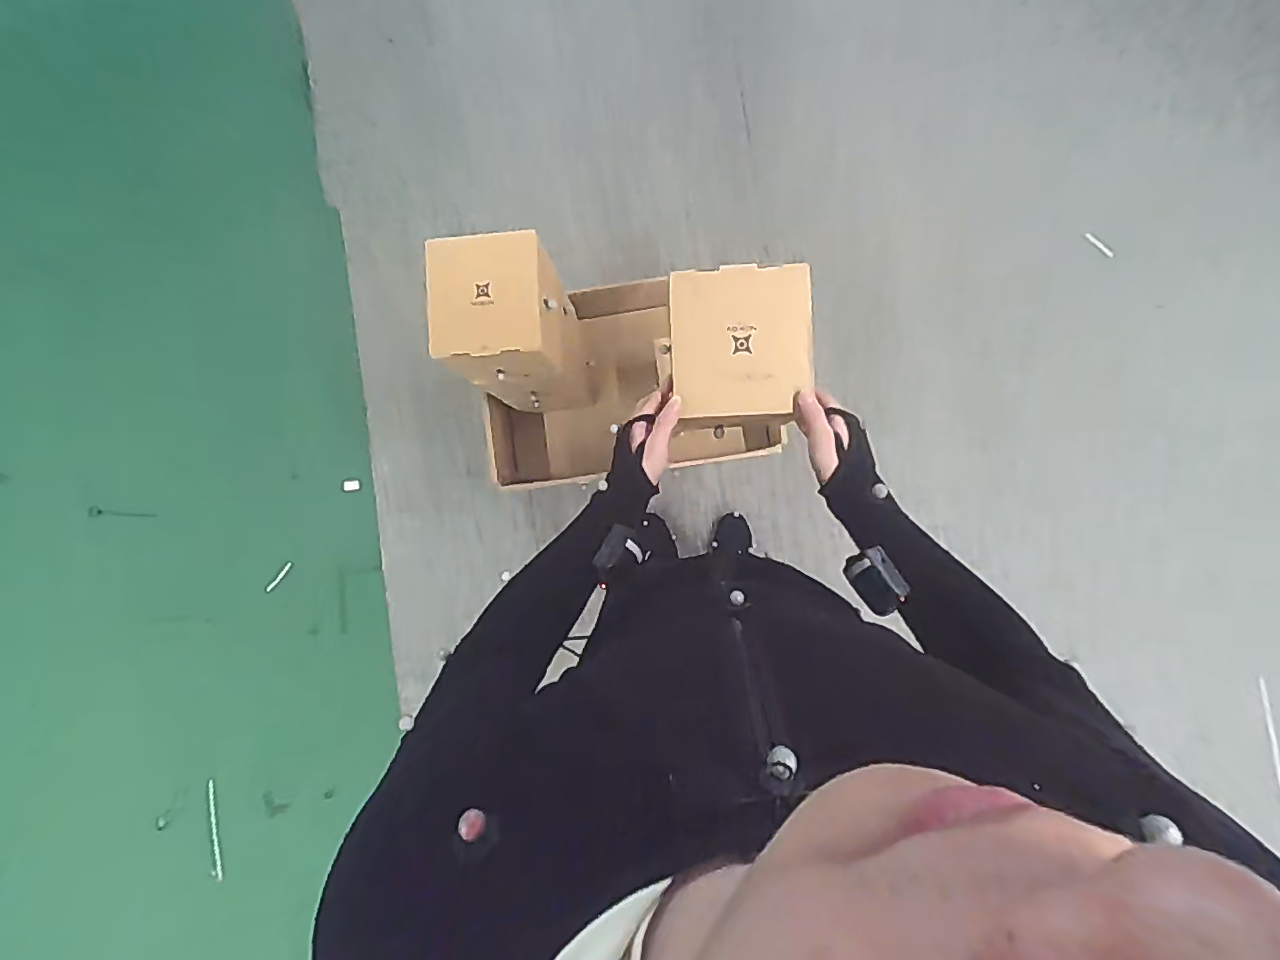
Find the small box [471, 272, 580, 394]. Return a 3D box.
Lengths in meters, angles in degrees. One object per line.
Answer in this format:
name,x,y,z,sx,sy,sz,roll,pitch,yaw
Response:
small box,-0.211,-0.267,1.012,0.168,0.176,0.179,-4,88,4

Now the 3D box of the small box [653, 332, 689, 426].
small box,0.124,-0.215,1.151,0.168,0.176,0.179,-8,87,3

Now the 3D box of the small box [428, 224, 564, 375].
small box,-0.218,-0.273,0.849,0.168,0.176,0.179,-3,89,3

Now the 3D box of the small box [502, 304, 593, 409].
small box,-0.201,-0.262,1.175,0.168,0.176,0.179,-6,88,4

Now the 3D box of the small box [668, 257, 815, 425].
small box,0.121,-0.169,0.704,0.168,0.176,0.179,-2,90,2
